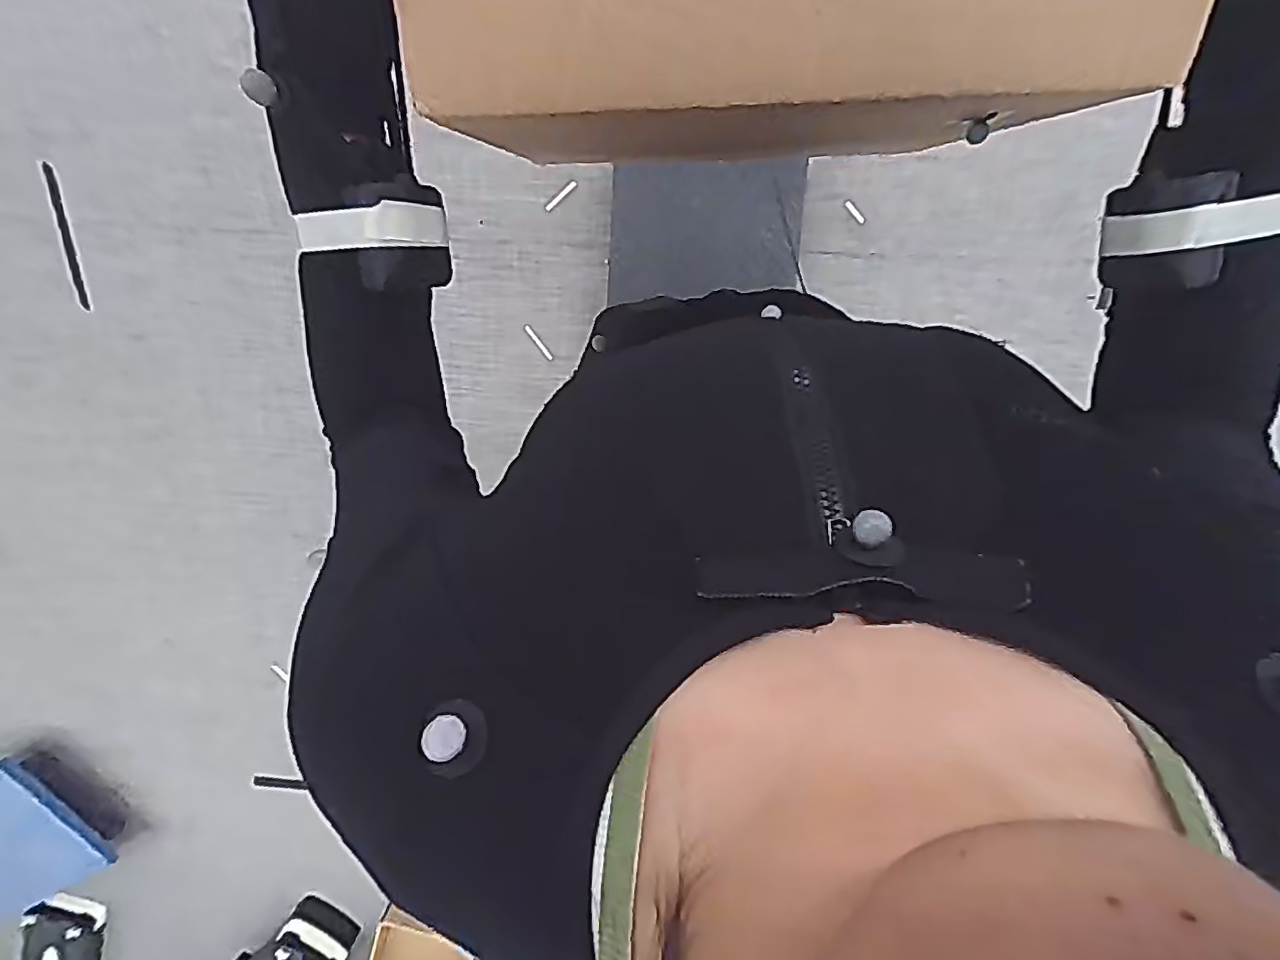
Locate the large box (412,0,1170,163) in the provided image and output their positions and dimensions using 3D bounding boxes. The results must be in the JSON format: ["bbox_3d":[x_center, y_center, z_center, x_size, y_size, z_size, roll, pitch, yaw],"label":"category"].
[{"bbox_3d":[0.077,-0.412,0.369,0.408,0.320,0.320,-1,116,2],"label":"large box"}]
